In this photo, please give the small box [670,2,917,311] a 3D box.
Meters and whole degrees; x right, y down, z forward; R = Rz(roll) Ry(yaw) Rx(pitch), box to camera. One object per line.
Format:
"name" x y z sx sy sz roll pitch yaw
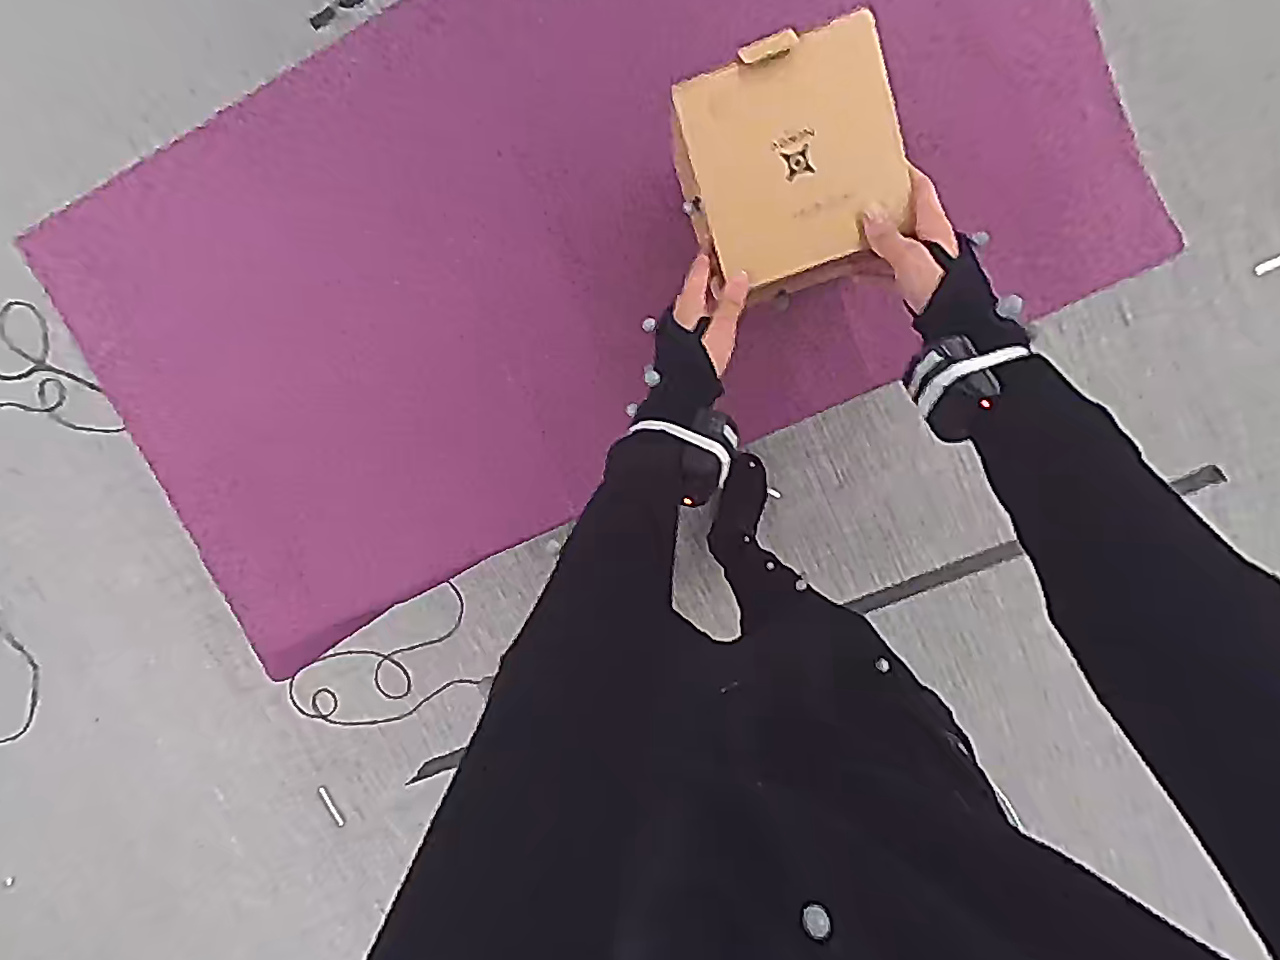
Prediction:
"small box" 0.130 -0.279 0.515 0.168 0.176 0.179 -16 99 8
